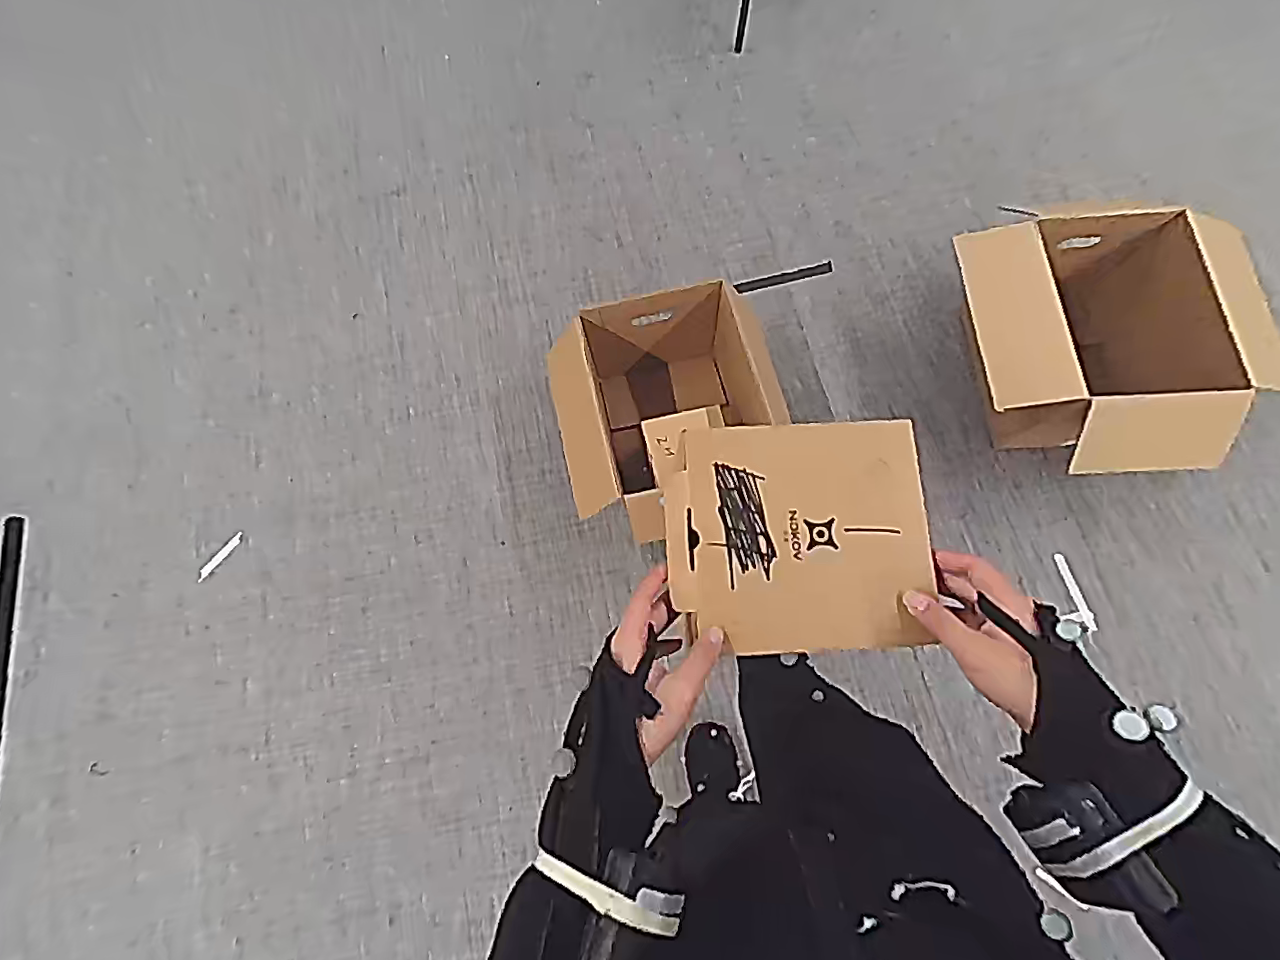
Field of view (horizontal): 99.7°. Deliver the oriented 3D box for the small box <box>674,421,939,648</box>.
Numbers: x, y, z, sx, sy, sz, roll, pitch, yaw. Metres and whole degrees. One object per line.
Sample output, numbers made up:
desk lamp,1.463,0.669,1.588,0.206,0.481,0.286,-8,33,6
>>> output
small box,0.121,0.053,0.474,0.179,0.176,0.168,-2,79,-1
